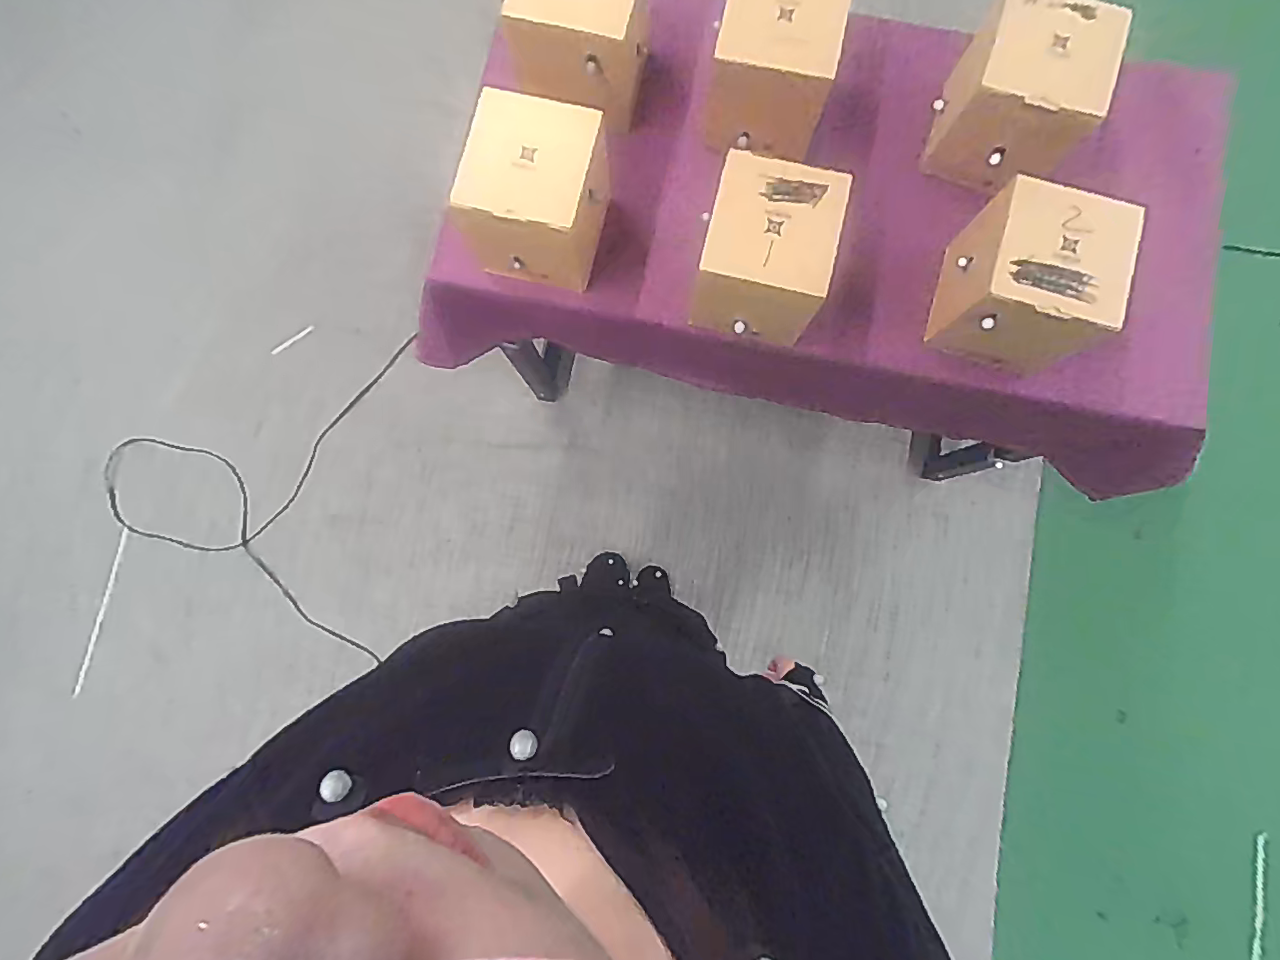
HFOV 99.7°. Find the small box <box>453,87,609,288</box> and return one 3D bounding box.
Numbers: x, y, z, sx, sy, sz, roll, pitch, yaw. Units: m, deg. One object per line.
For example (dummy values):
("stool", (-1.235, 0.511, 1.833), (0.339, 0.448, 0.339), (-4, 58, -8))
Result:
("small box", (-0.144, -0.411, 0.784), (0.168, 0.176, 0.179), (13, 83, 2))

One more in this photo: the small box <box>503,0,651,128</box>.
("small box", (-0.082, -0.675, 0.816), (0.179, 0.176, 0.168), (13, 83, 3))

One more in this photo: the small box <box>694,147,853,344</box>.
("small box", (0.176, -0.318, 0.763), (0.168, 0.176, 0.179), (14, 83, 3))

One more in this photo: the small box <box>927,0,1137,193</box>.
("small box", (0.552, -0.560, 0.787), (0.168, 0.176, 0.179), (19, 84, 3))
